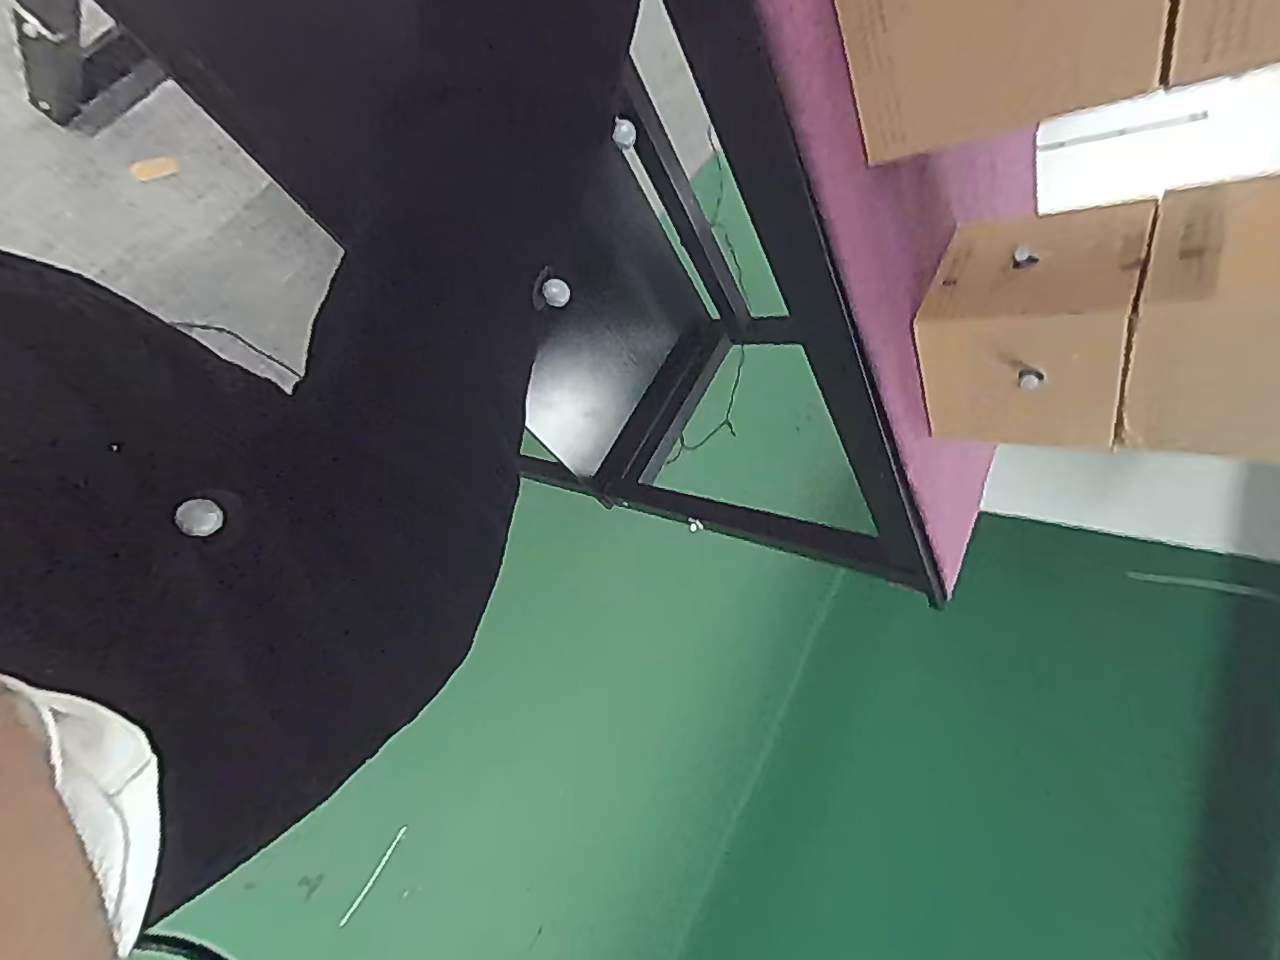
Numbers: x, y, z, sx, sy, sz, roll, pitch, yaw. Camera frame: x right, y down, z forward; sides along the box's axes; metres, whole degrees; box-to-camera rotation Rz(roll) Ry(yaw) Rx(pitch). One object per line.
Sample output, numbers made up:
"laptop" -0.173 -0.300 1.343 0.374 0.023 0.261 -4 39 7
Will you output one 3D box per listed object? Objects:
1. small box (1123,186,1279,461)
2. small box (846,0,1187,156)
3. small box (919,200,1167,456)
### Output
"small box" 0.521 -0.124 0.442 0.168 0.176 0.179 -55 133 -22
"small box" 0.232 -0.340 0.328 0.168 0.176 0.179 -56 133 -20
"small box" 0.406 -0.147 0.557 0.168 0.176 0.179 -55 132 -21
